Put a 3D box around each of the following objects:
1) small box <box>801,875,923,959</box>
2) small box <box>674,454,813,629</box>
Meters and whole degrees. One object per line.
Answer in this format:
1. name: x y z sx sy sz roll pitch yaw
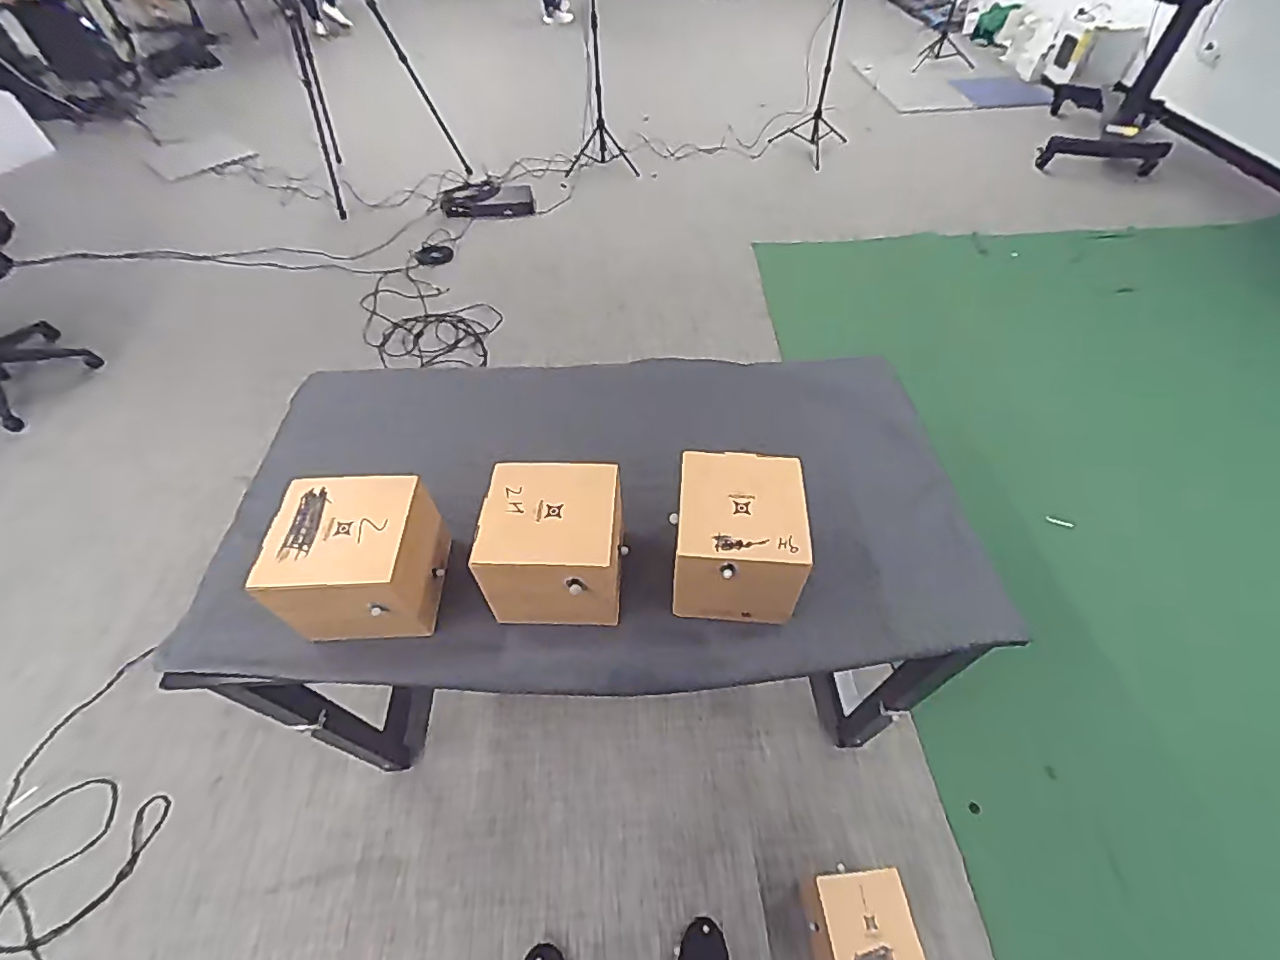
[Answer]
1. small box: 0.429 0.888 1.056 0.168 0.176 0.179 -4 51 -2
2. small box: 0.137 0.087 0.763 0.168 0.176 0.179 4 50 5
